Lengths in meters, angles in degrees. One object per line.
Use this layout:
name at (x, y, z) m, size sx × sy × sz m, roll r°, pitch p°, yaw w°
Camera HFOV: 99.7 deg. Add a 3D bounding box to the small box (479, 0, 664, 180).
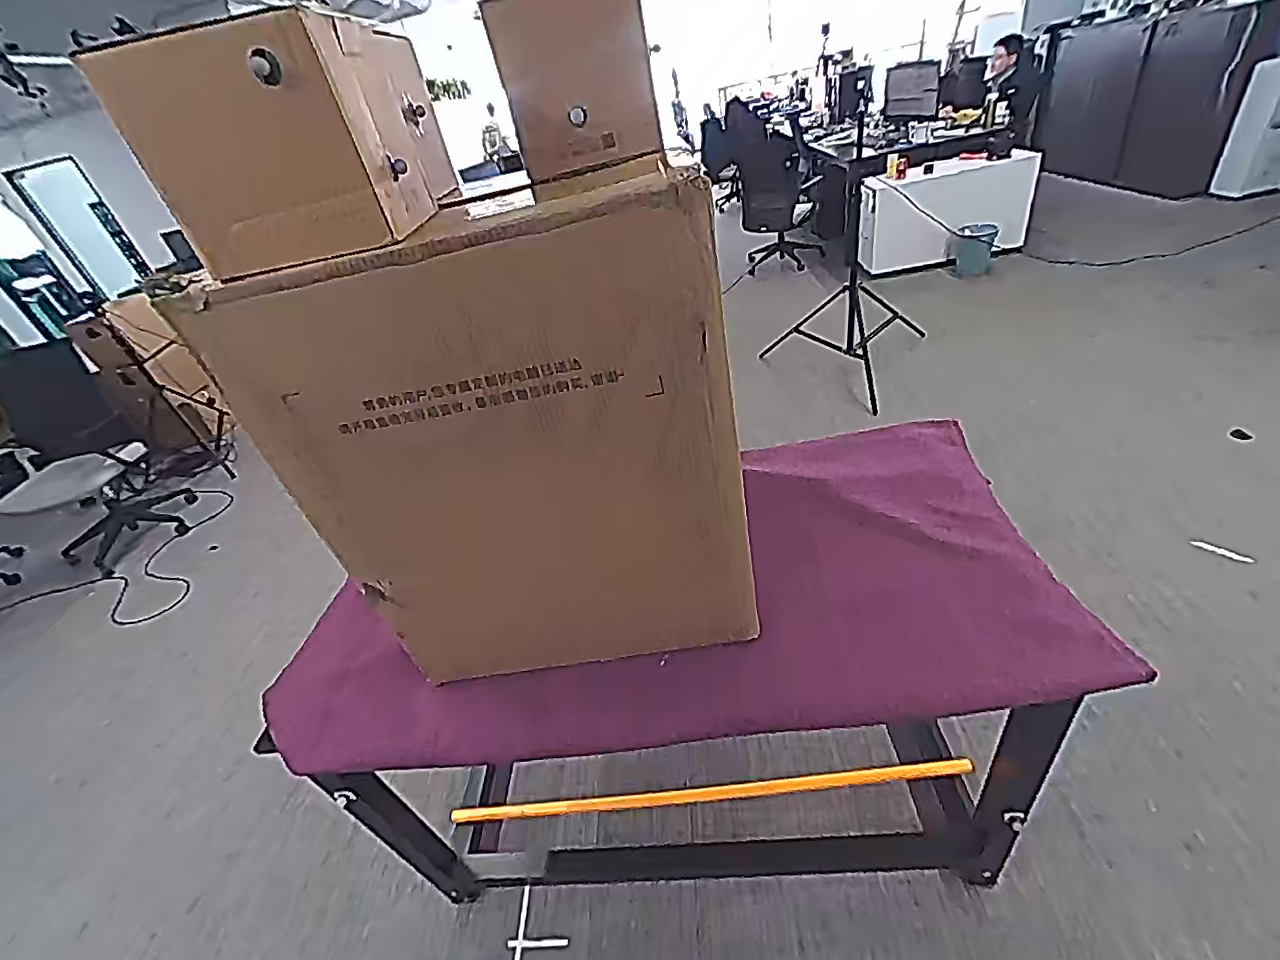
small box at (-0.067, -0.476, 0.651) m, size 0.168 × 0.176 × 0.179 m, roll -9°, pitch 36°, yaw 8°
